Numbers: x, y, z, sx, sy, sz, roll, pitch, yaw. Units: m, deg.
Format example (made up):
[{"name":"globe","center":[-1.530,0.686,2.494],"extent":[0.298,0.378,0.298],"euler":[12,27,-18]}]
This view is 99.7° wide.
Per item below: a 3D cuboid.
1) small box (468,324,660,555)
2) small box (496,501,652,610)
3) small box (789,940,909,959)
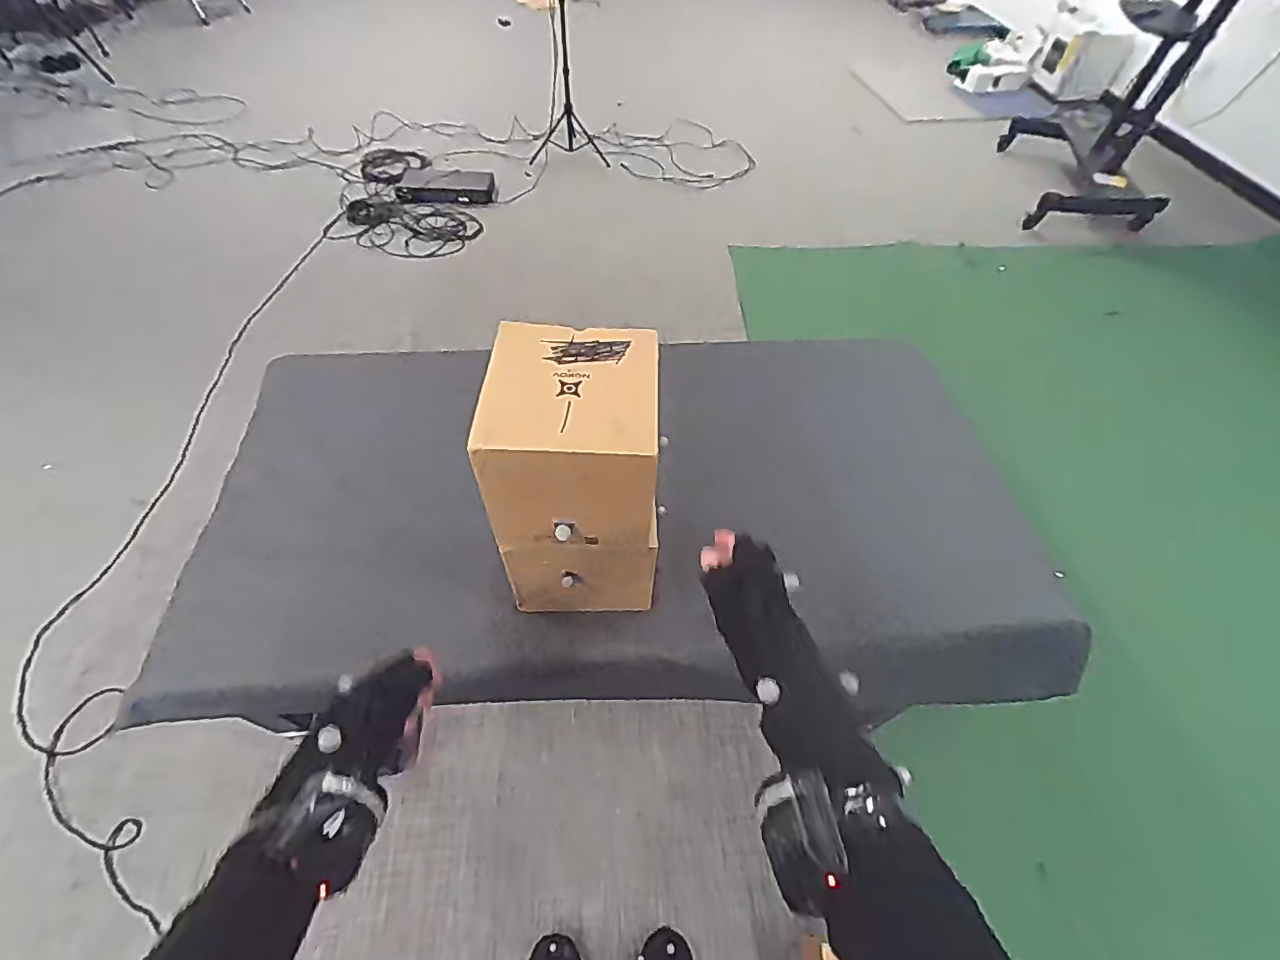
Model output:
[{"name":"small box","center":[-0.069,-0.040,0.579],"extent":[0.168,0.176,0.179],"euler":[3,53,-1]},{"name":"small box","center":[-0.076,0.062,0.708],"extent":[0.179,0.176,0.168],"euler":[0,53,-3]},{"name":"small box","center":[0.385,0.949,0.978],"extent":[0.179,0.176,0.168],"euler":[3,52,1]}]
